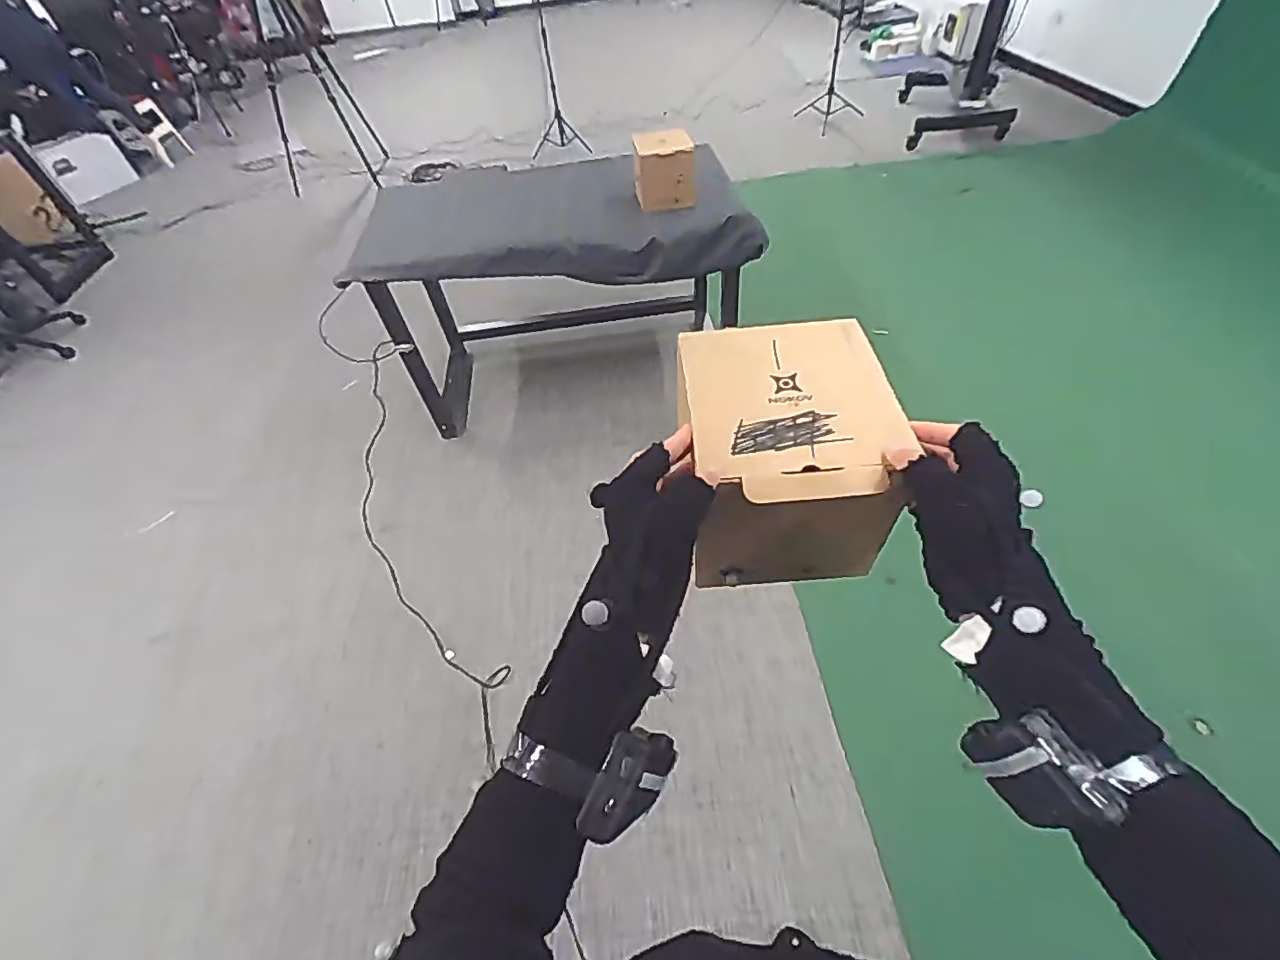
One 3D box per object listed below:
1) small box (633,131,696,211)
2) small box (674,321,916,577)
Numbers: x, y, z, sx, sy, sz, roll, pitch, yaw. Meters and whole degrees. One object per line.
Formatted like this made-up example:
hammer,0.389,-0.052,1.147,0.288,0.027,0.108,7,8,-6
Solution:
small box,0.077,-0.942,1.660,0.168,0.176,0.179,-9,48,-2
small box,0.122,-0.020,0.503,0.168,0.176,0.179,-5,51,2
